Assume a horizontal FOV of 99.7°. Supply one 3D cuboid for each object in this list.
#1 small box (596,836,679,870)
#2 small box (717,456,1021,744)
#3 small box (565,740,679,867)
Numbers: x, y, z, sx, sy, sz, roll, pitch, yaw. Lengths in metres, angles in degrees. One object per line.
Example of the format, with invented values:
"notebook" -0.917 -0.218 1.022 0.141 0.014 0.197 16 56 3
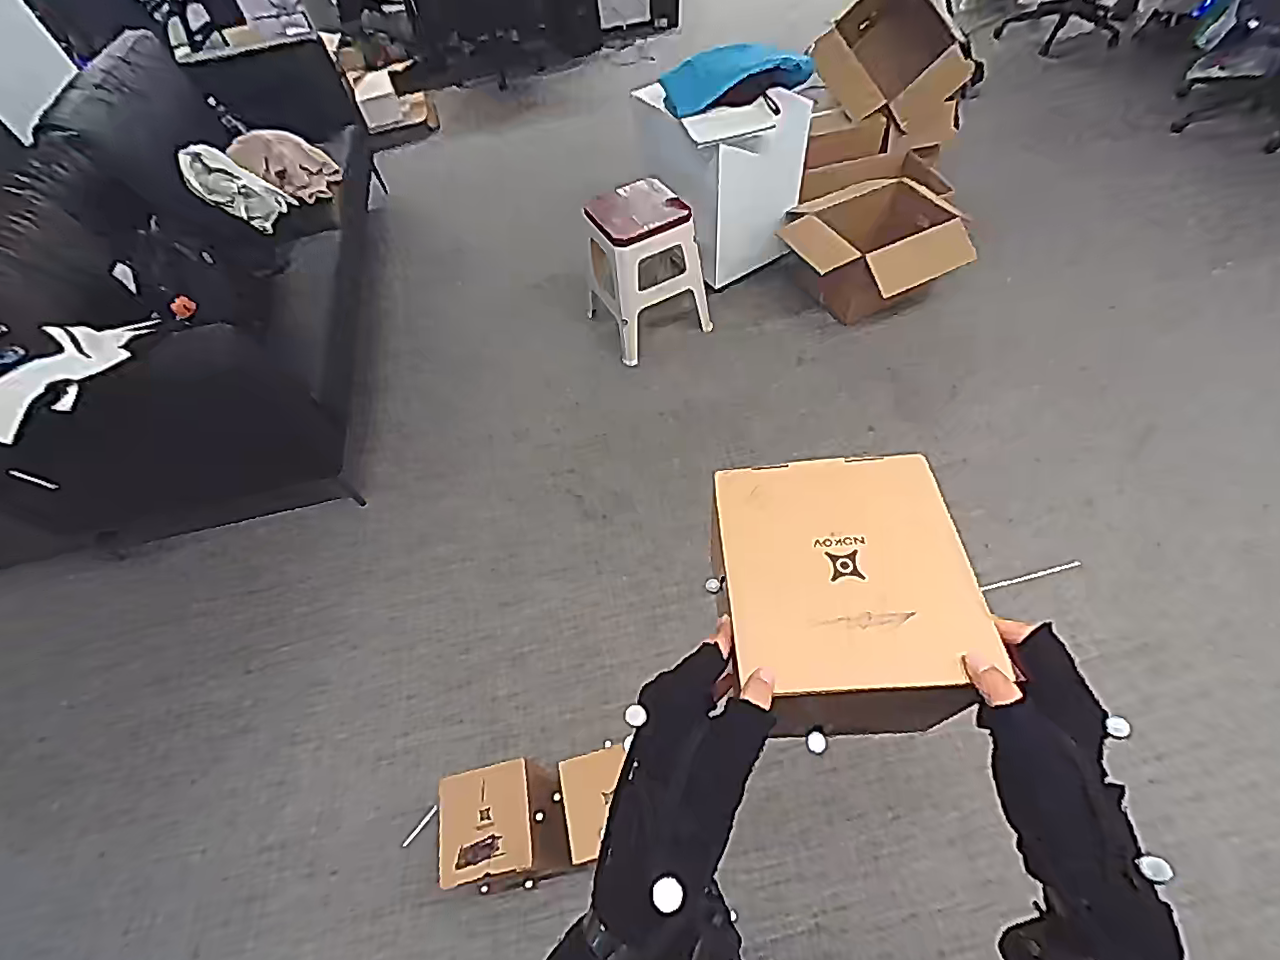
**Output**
"small box" -0.018 0.718 1.165 0.168 0.176 0.179 -15 55 -3
"small box" 0.154 0.103 0.441 0.168 0.176 0.179 -5 56 4
"small box" -0.031 0.621 1.034 0.179 0.176 0.168 -15 56 -4
